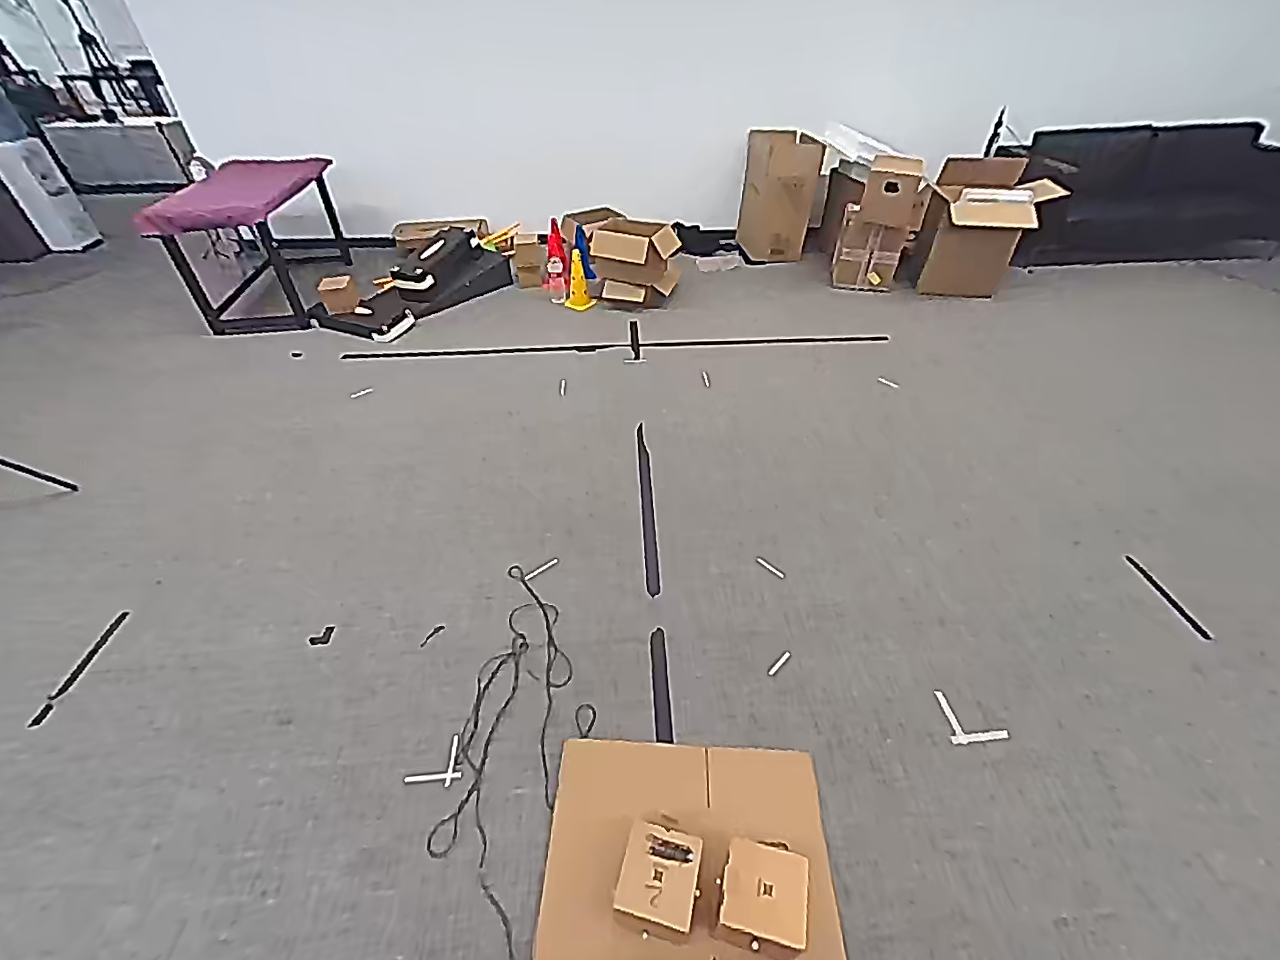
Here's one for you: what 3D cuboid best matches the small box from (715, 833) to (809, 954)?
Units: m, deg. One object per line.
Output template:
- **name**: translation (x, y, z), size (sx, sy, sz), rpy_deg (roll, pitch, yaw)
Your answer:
- **small box**: translation (0.274, 0.940, 1.225), size (0.179, 0.176, 0.168), rpy_deg (10, 43, 12)
